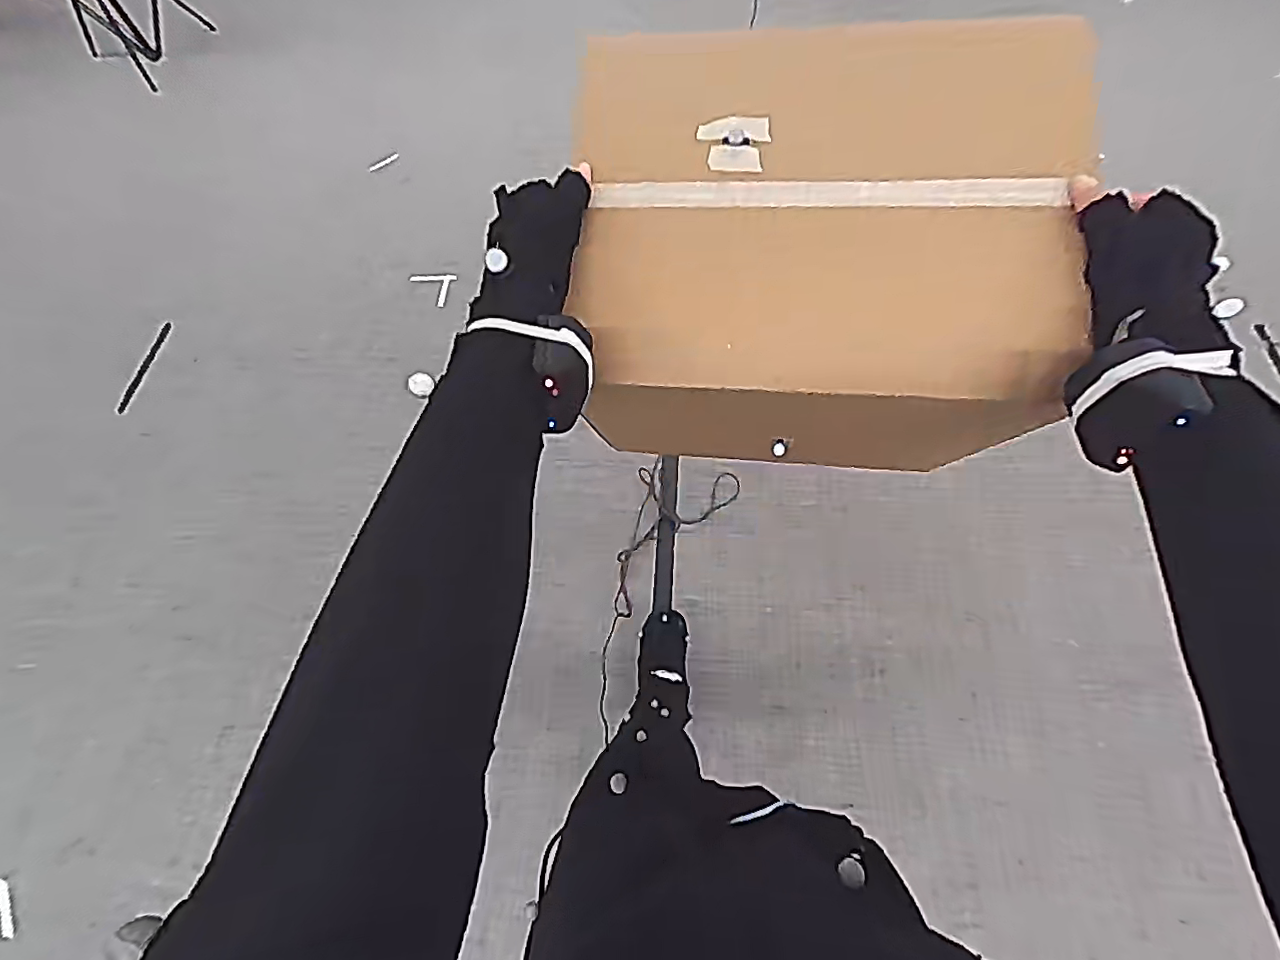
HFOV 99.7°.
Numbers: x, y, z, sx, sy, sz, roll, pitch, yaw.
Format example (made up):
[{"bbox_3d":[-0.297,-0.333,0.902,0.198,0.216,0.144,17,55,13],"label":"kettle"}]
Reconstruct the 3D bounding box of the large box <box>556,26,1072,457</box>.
[{"bbox_3d":[0.158,-0.205,0.592,0.408,0.320,0.320,4,82,9],"label":"large box"}]
